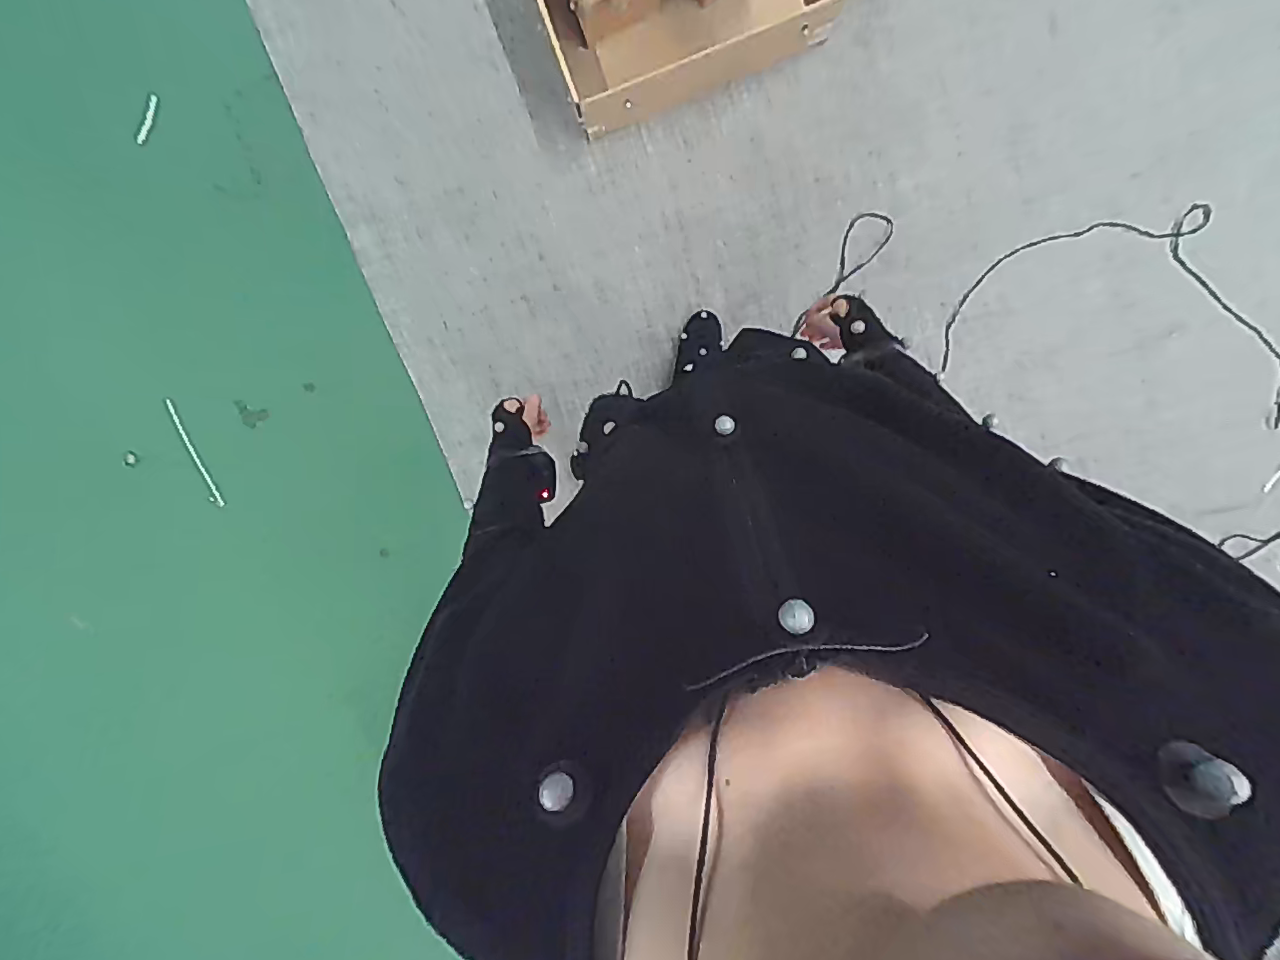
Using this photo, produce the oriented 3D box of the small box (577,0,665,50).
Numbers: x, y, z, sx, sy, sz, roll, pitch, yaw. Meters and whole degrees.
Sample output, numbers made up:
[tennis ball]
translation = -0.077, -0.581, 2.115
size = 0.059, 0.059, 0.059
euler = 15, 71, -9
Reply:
[small box]
translation = -0.051, -1.055, 1.128
size = 0.179, 0.176, 0.168
euler = -24, 104, 4
